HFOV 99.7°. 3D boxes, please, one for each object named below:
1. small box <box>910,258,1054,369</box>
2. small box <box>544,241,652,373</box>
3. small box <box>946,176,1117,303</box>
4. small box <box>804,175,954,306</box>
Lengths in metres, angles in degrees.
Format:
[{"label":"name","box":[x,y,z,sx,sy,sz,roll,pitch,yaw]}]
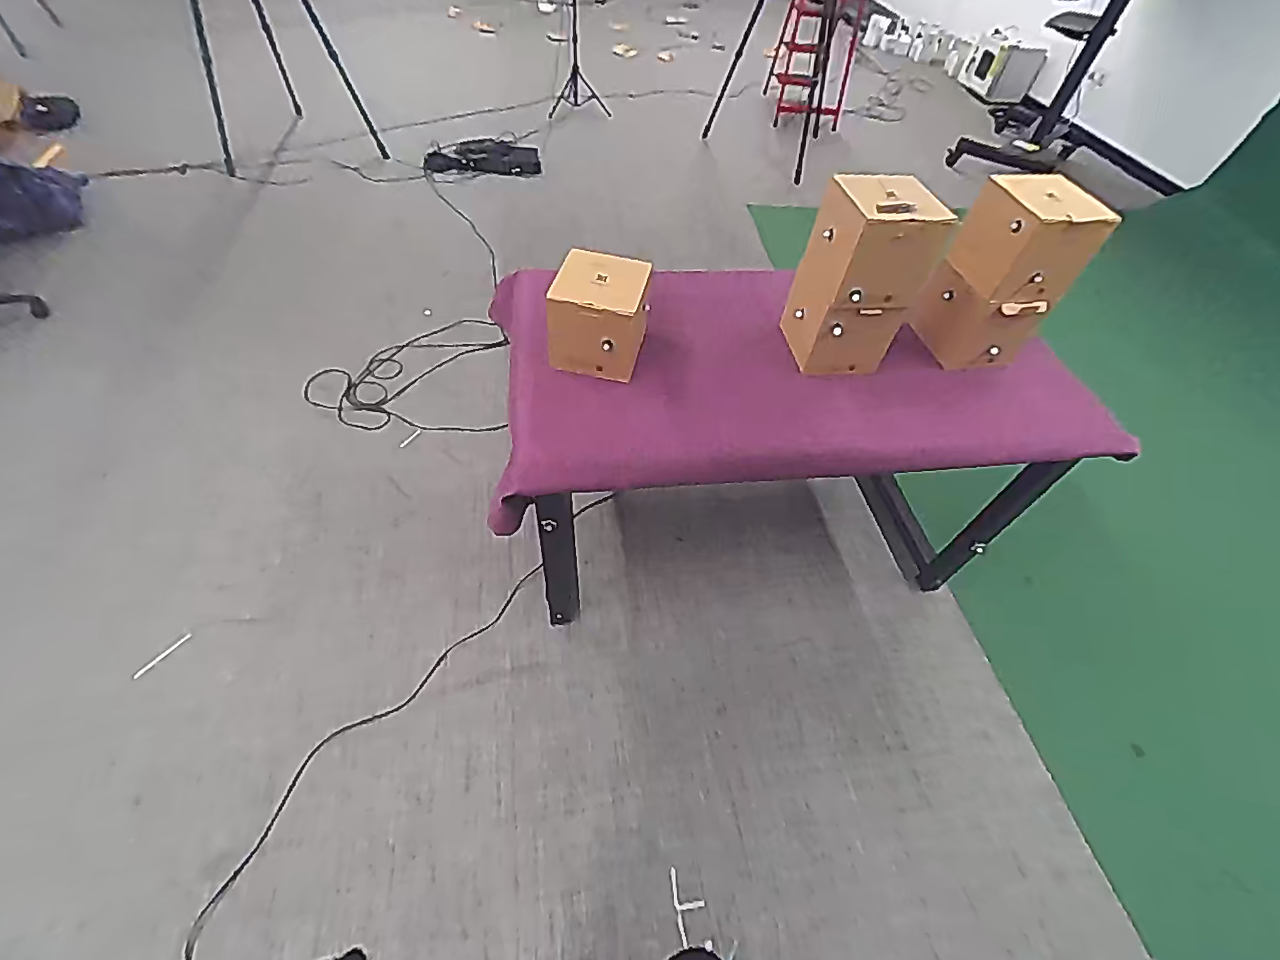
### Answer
[{"label":"small box","box":[0.729,-0.364,1.180,0.168,0.176,0.179,-6,53,-9]},{"label":"small box","box":[-0.078,-0.333,1.055,0.168,0.176,0.179,12,52,3]},{"label":"small box","box":[0.744,-0.467,1.054,0.168,0.176,0.179,-6,54,-10]},{"label":"small box","box":[0.426,-0.437,0.997,0.168,0.176,0.179,-3,51,-9]}]
